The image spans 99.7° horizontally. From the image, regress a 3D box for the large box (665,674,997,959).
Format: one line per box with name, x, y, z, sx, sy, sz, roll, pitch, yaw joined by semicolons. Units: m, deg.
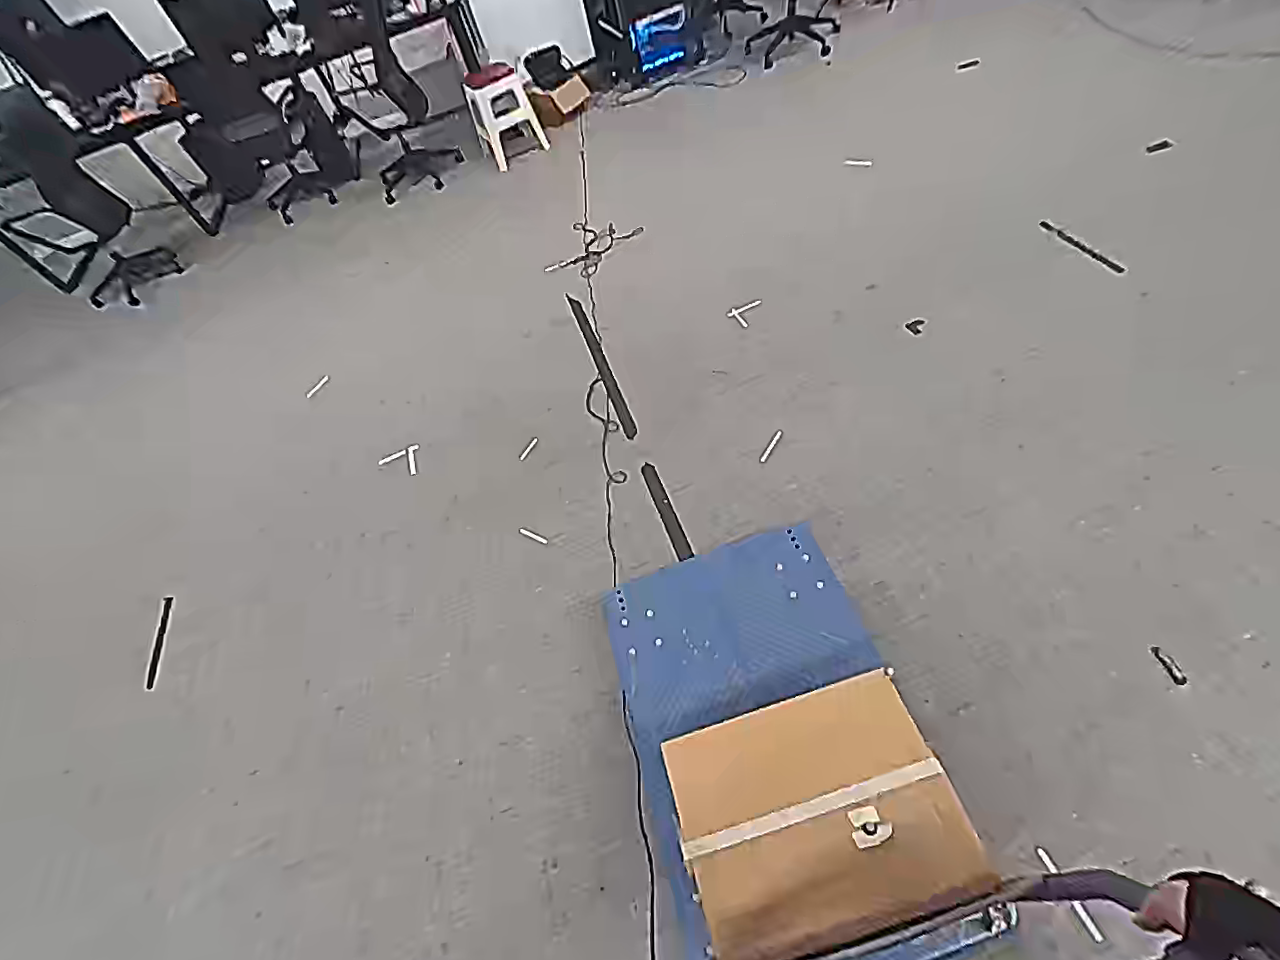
large box;0.295;0.597;0.944;0.408;0.320;0.320;-19;53;0
